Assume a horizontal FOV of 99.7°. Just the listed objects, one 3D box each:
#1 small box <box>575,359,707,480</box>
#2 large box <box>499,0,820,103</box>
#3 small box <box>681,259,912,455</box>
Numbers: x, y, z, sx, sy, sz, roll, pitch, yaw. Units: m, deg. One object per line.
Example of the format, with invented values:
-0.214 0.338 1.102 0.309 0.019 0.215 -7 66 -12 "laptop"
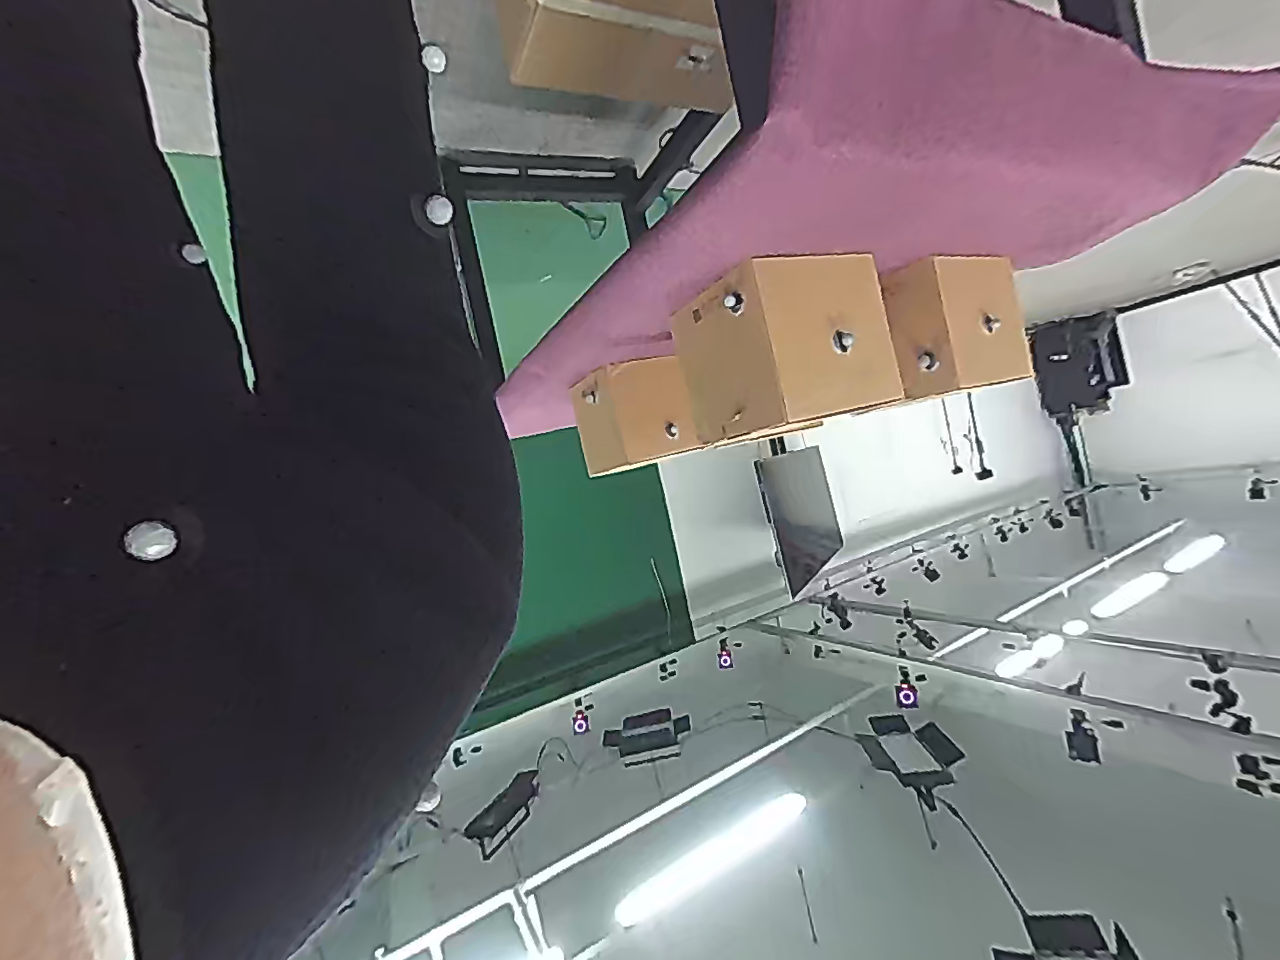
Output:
0.008 -0.106 0.942 0.179 0.176 0.168 -13 180 -28 "small box"
0.021 -0.785 0.735 0.408 0.320 0.320 -14 -178 -27 "large box"
0.168 -0.137 0.618 0.179 0.176 0.168 -14 -178 -26 "small box"
